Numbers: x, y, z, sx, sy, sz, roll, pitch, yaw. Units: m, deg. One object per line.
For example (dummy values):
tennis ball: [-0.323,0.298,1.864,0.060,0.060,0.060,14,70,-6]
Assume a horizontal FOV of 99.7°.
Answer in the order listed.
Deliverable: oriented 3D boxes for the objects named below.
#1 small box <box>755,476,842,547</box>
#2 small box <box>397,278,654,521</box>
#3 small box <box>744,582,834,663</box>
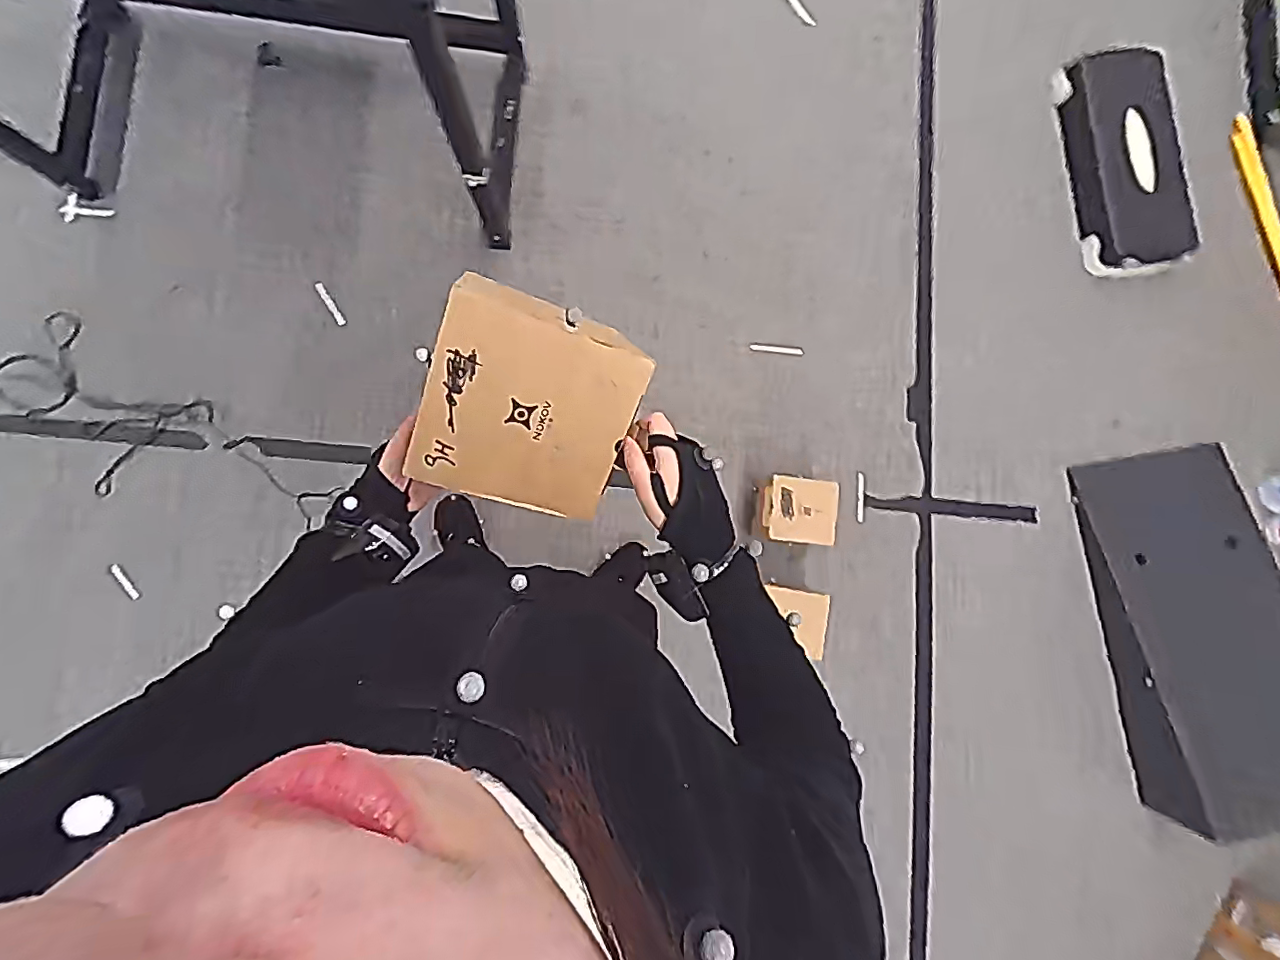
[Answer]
small box: [0.417,0.087,1.448,0.179,0.176,0.168,7,85,-4]
small box: [-0.113,-0.084,0.521,0.179,0.176,0.168,15,108,-21]
small box: [0.384,0.367,1.427,0.179,0.176,0.168,10,86,-3]
